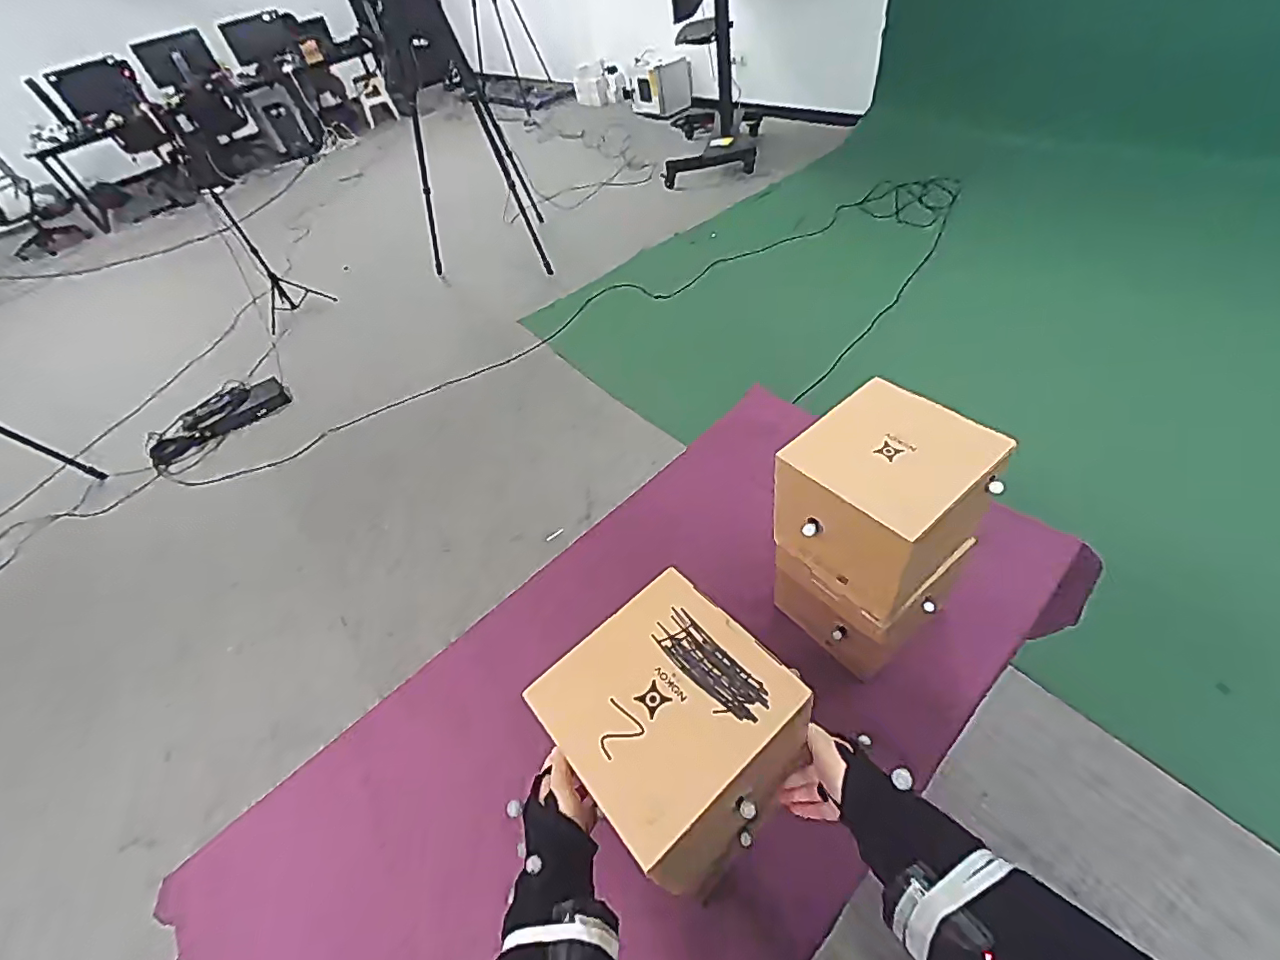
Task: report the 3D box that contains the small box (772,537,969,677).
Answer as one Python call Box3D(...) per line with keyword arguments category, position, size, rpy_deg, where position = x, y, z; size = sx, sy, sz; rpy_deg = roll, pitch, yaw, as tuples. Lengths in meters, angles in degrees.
Box3D(category="small box", position=(0.302, 0.134, 0.738), size=(0.179, 0.176, 0.168), rpy_deg=(-34, 51, -17))

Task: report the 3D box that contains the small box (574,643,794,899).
Box3D(category="small box", position=(0.057, 0.332, 0.616), size=(0.179, 0.176, 0.168), rpy_deg=(-38, 51, -21))

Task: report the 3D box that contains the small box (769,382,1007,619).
Box3D(category="small box", position=(0.270, 0.025, 0.622), size=(0.179, 0.176, 0.168), rpy_deg=(-36, 51, -19))
